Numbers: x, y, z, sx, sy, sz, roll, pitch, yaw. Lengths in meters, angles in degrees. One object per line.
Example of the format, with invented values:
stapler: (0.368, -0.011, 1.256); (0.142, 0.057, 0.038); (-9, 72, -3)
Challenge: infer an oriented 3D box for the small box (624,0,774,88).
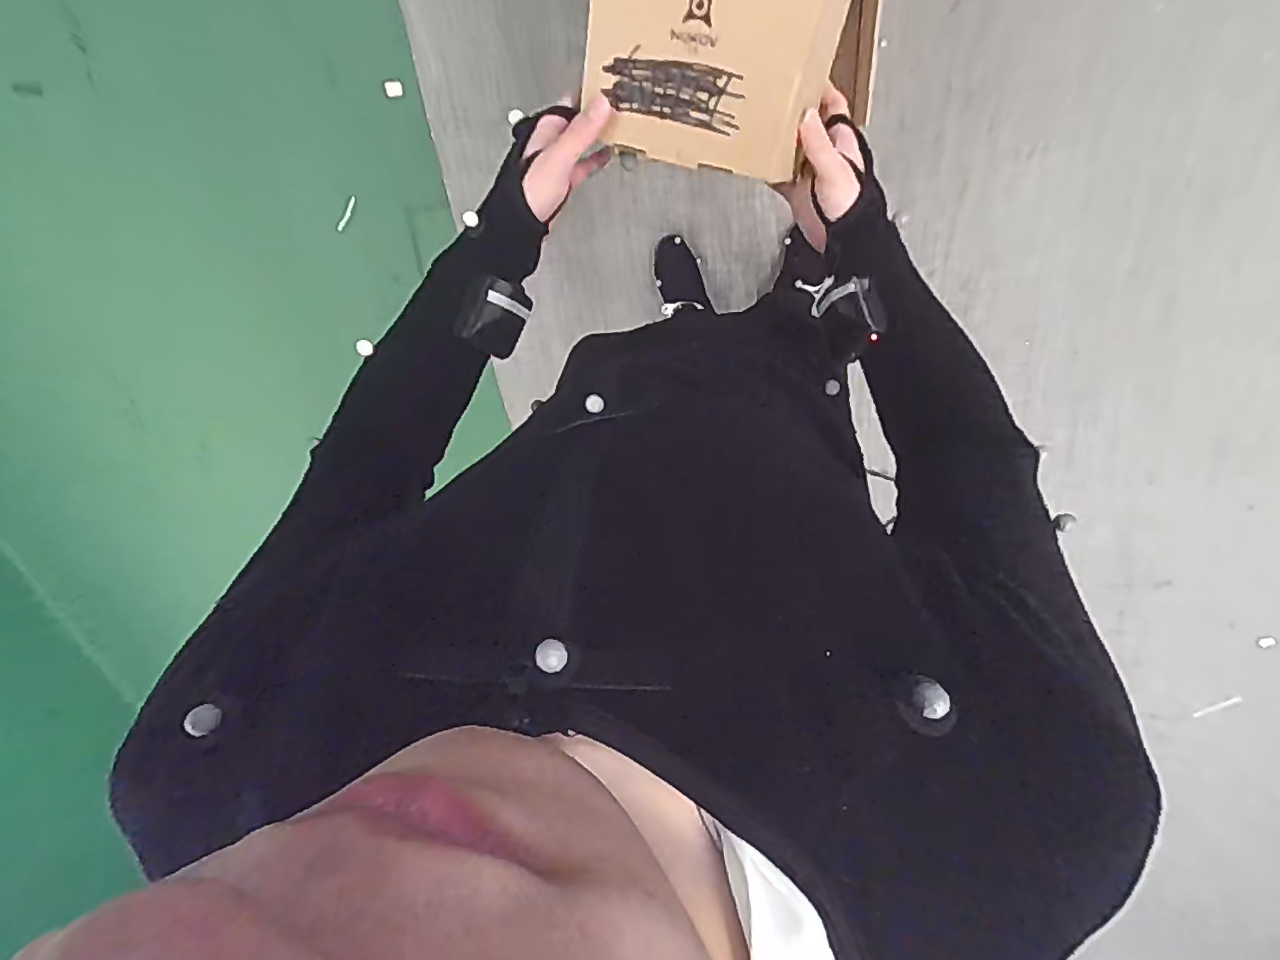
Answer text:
small box: (0.079, -0.597, 0.663); (0.168, 0.176, 0.179); (6, 118, 11)
